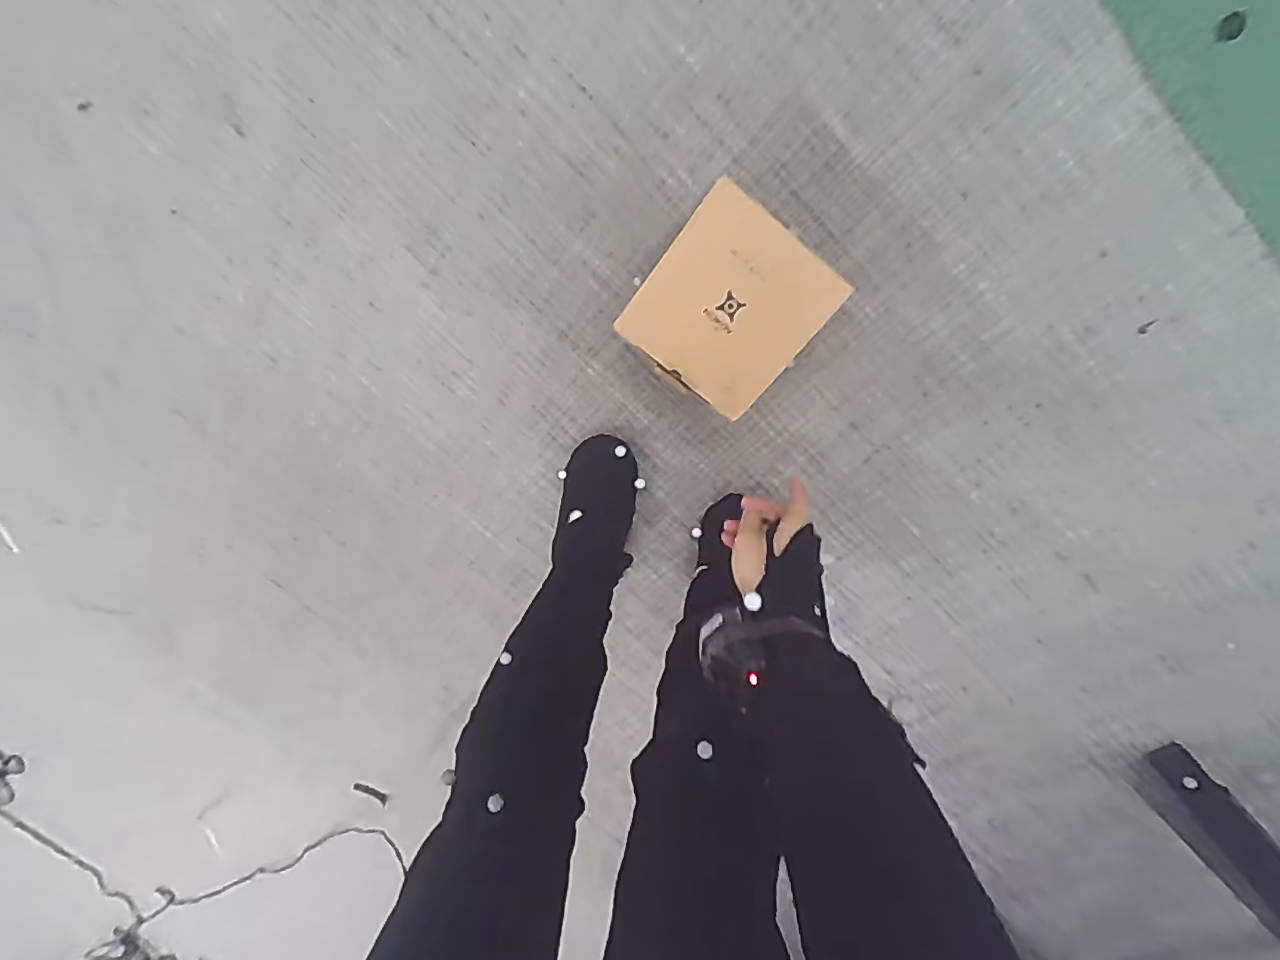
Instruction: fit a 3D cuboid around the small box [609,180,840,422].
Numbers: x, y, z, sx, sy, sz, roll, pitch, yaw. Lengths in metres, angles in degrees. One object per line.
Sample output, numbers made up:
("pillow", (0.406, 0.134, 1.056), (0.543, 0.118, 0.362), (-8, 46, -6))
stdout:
("small box", (0.091, -0.199, 0.613), (0.168, 0.176, 0.179), (37, 112, -8))
